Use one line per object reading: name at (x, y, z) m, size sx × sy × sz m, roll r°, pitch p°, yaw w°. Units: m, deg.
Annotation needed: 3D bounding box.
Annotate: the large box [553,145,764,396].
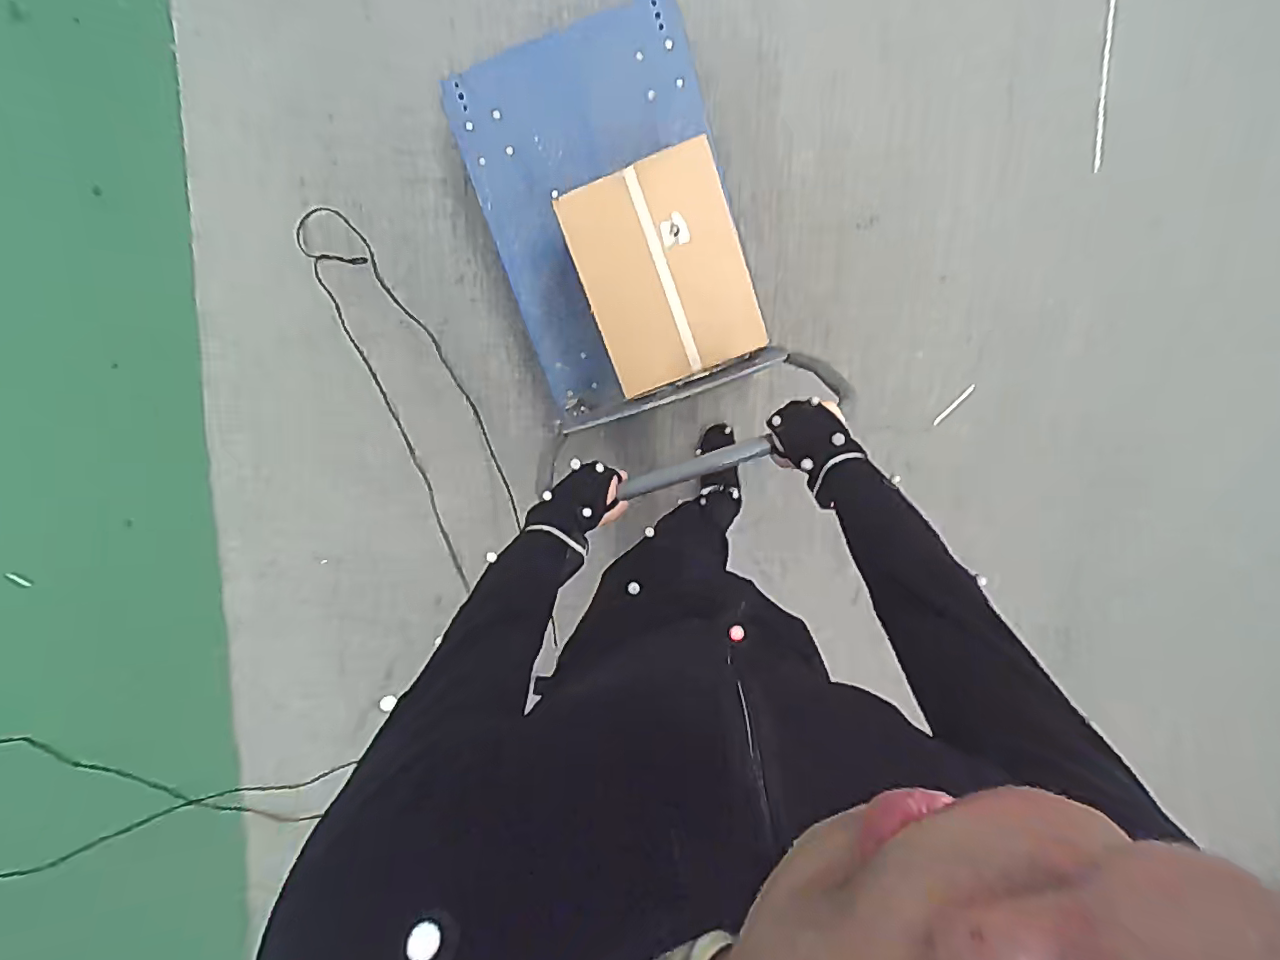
large box at (0.047, -0.440, 1.225) m, size 0.320 × 0.320 × 0.408 m, roll -20°, pitch 102°, yaw 5°
